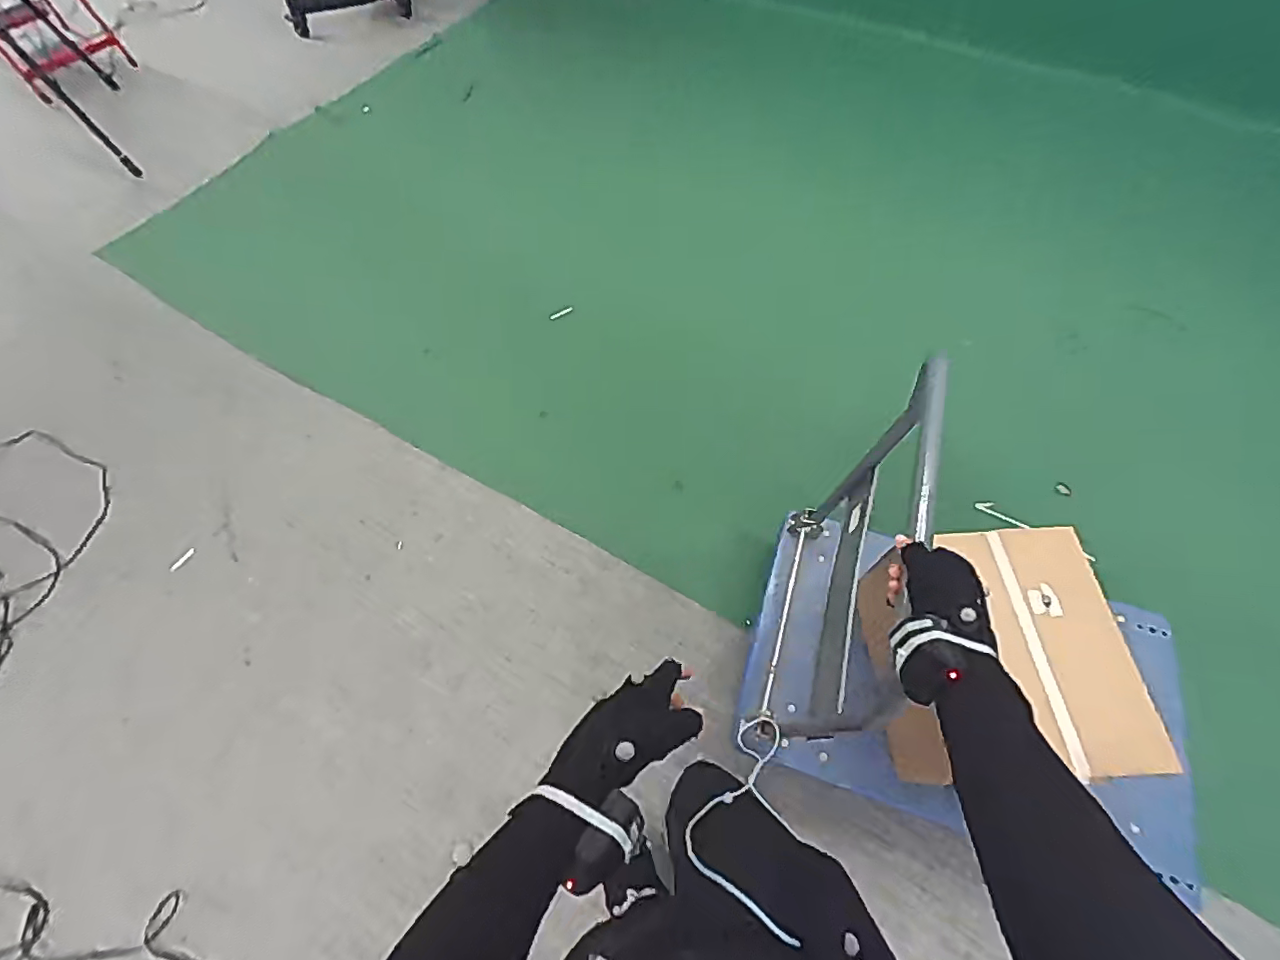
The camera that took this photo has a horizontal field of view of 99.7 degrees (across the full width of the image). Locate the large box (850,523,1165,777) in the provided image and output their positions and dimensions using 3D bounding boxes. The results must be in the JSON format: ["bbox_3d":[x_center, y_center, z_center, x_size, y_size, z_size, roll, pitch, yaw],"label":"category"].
[{"bbox_3d":[0.645,0.336,1.048,0.320,0.320,0.408,-3,60,1],"label":"large box"}]
